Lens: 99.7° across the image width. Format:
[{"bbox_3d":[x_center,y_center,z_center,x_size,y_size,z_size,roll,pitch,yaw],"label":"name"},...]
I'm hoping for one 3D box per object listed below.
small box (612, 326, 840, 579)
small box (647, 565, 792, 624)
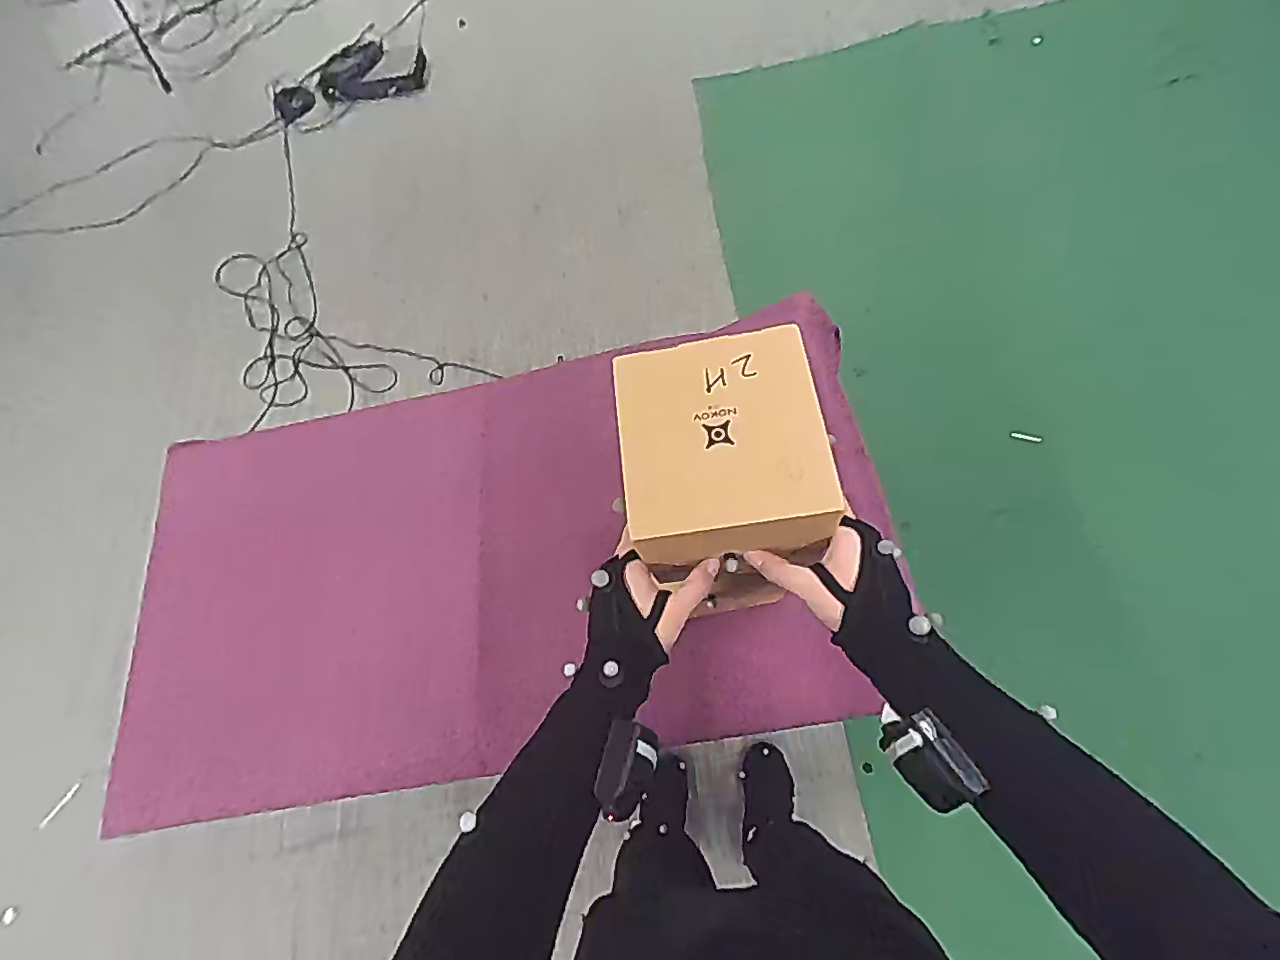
[{"bbox_3d":[0.075,-0.010,0.507,0.168,0.176,0.179,-8,66,7],"label":"small box"},{"bbox_3d":[0.095,0.085,0.732,0.168,0.176,0.179,-12,67,5],"label":"small box"}]
